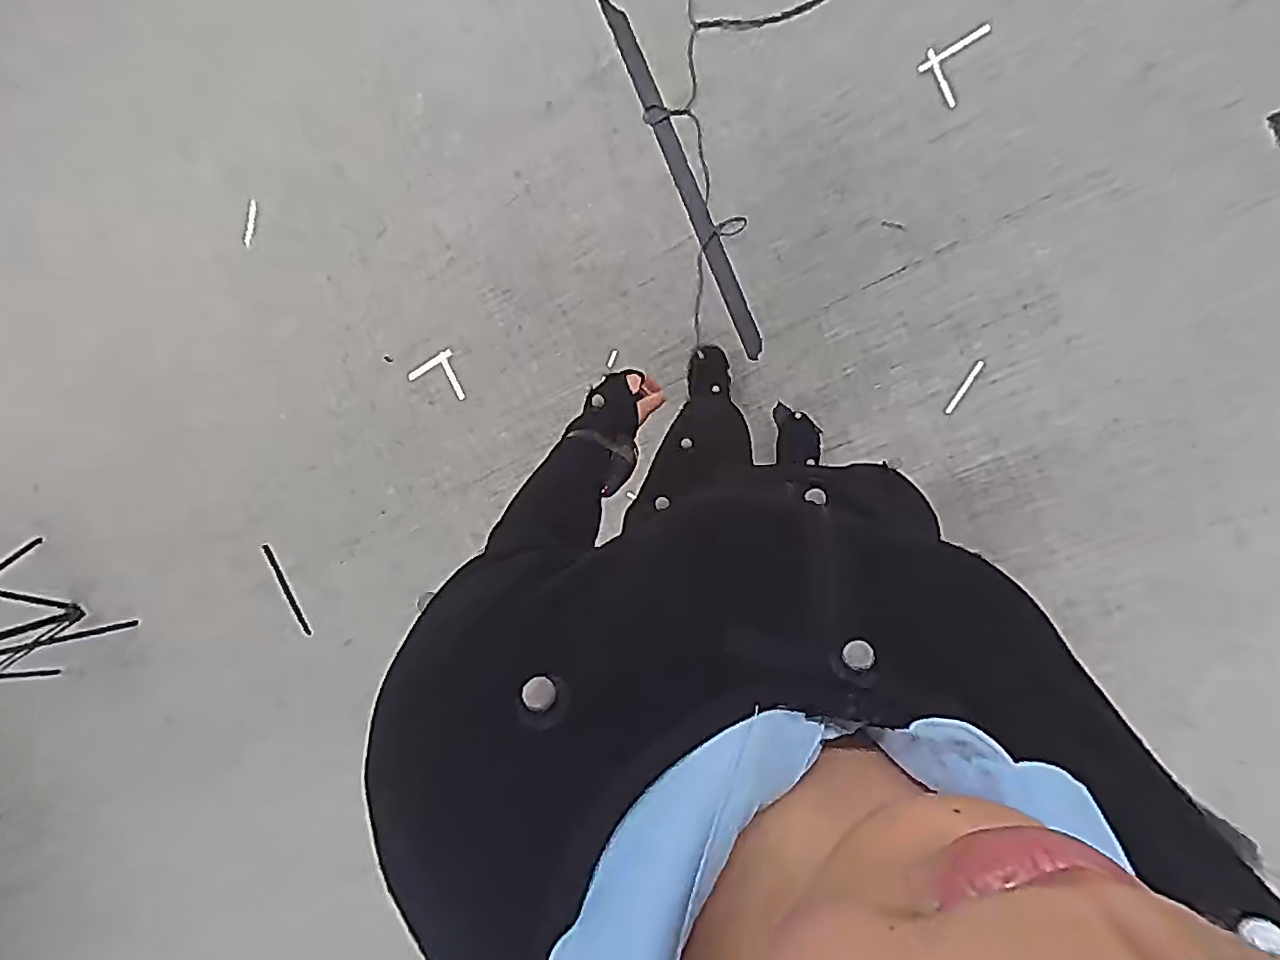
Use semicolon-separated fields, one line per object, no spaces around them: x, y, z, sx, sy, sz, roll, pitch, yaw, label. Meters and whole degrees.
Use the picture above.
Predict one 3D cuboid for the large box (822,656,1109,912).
0.641;0.627;1.150;0.408;0.320;0.320;-22;91;19;large box
